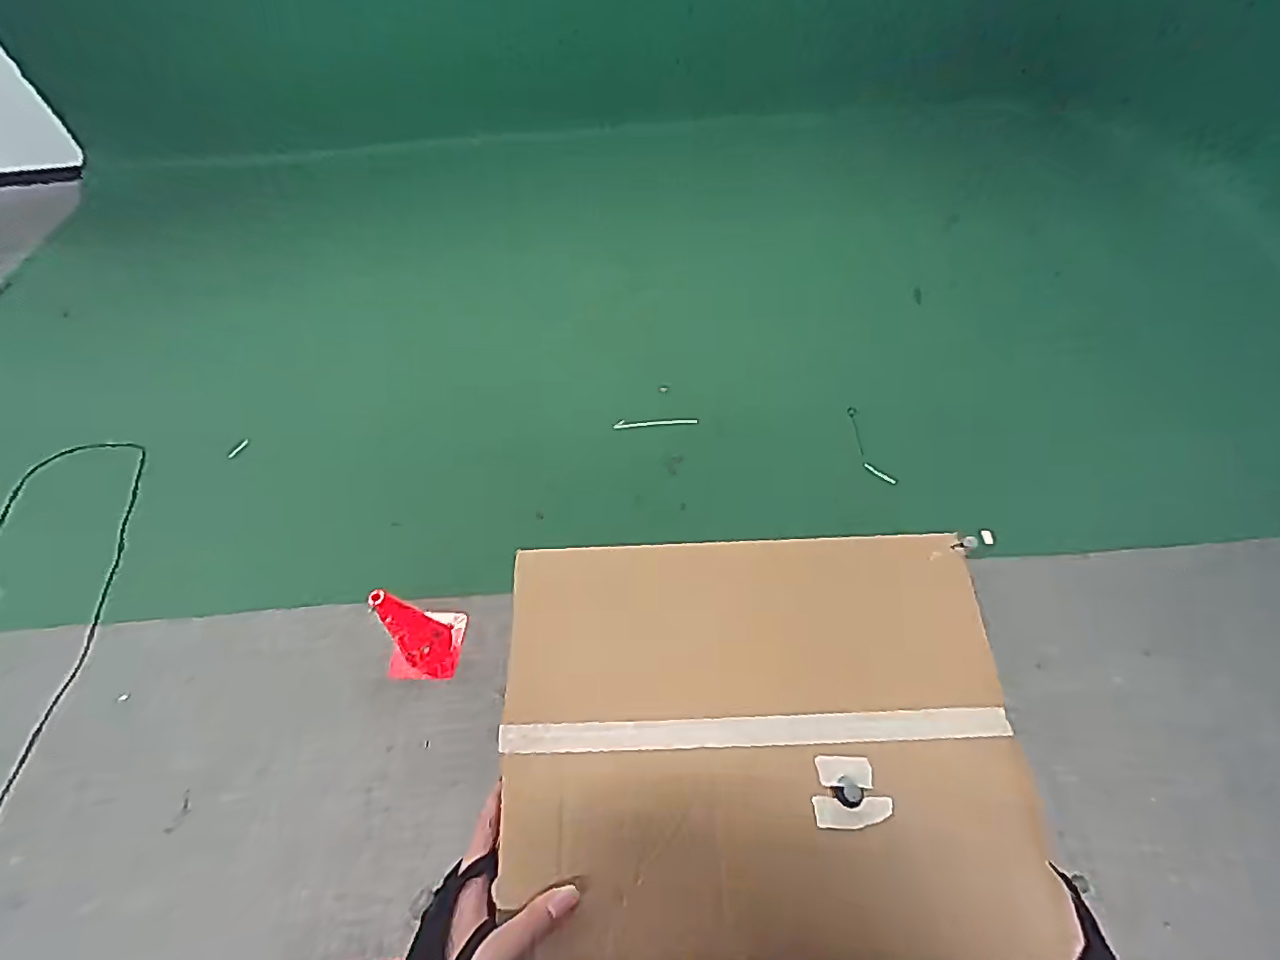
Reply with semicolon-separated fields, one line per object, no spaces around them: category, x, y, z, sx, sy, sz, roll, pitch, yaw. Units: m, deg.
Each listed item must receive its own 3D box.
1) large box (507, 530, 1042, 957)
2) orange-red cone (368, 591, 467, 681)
large box;0.094;0.256;0.589;0.408;0.320;0.320;-3;68;1
orange-red cone;-0.639;0.393;1.468;0.199;0.360;0.198;1;54;6
